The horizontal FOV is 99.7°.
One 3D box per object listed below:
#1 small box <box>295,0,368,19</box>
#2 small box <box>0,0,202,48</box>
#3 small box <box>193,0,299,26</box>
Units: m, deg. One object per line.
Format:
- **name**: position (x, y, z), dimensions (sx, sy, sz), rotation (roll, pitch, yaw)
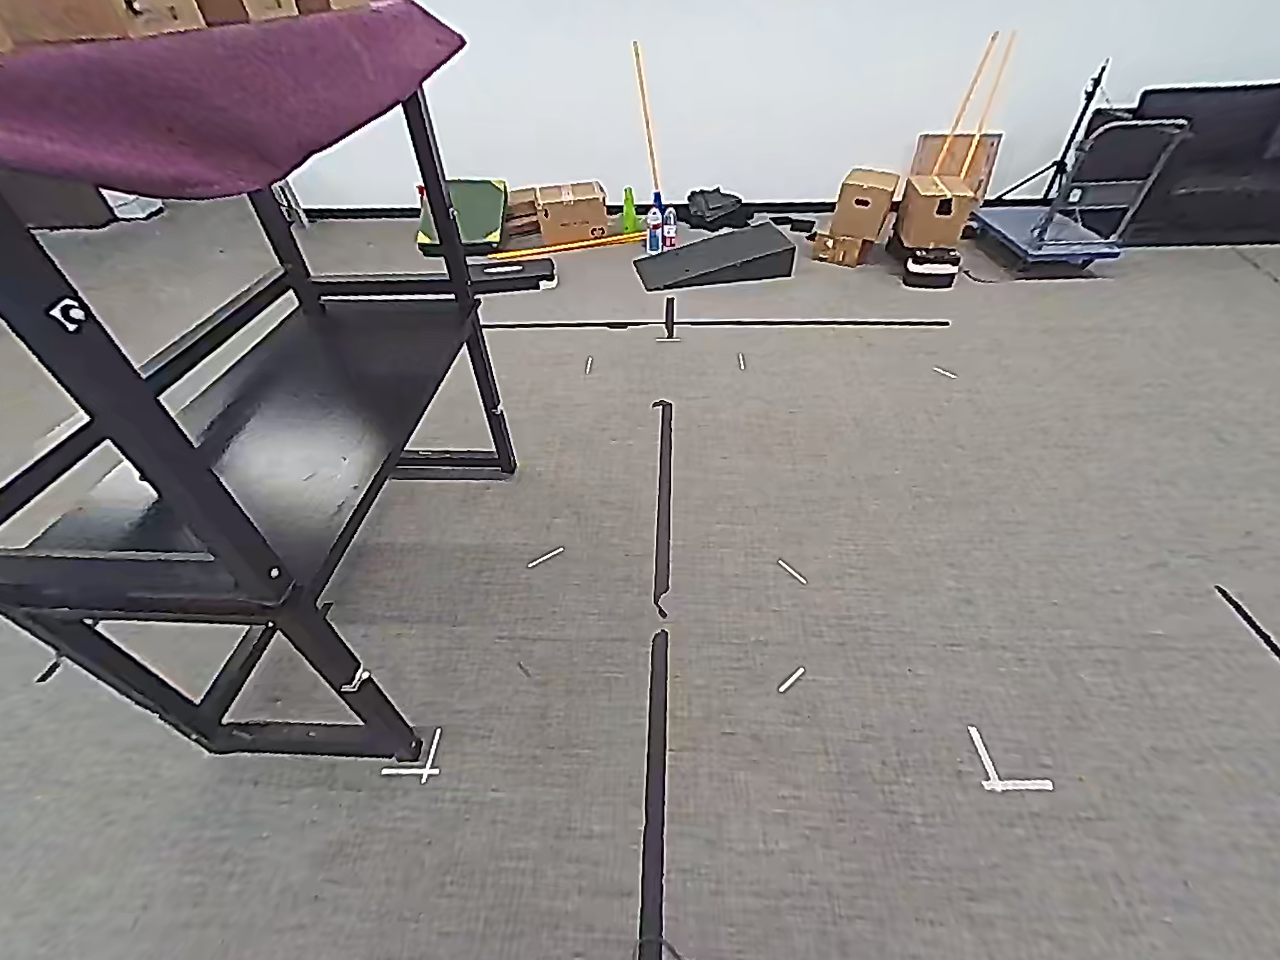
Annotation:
- **small box**: position (-0.677, -1.041, 1.081), dimensions (0.168, 0.176, 0.179), rotation (2, 45, 5)
- **small box**: position (-0.725, -0.670, 0.689), dimensions (0.179, 0.176, 0.168), rotation (-1, 43, 2)
- **small box**: position (-0.707, -0.848, 0.877), dimensions (0.179, 0.176, 0.168), rotation (0, 44, 2)
